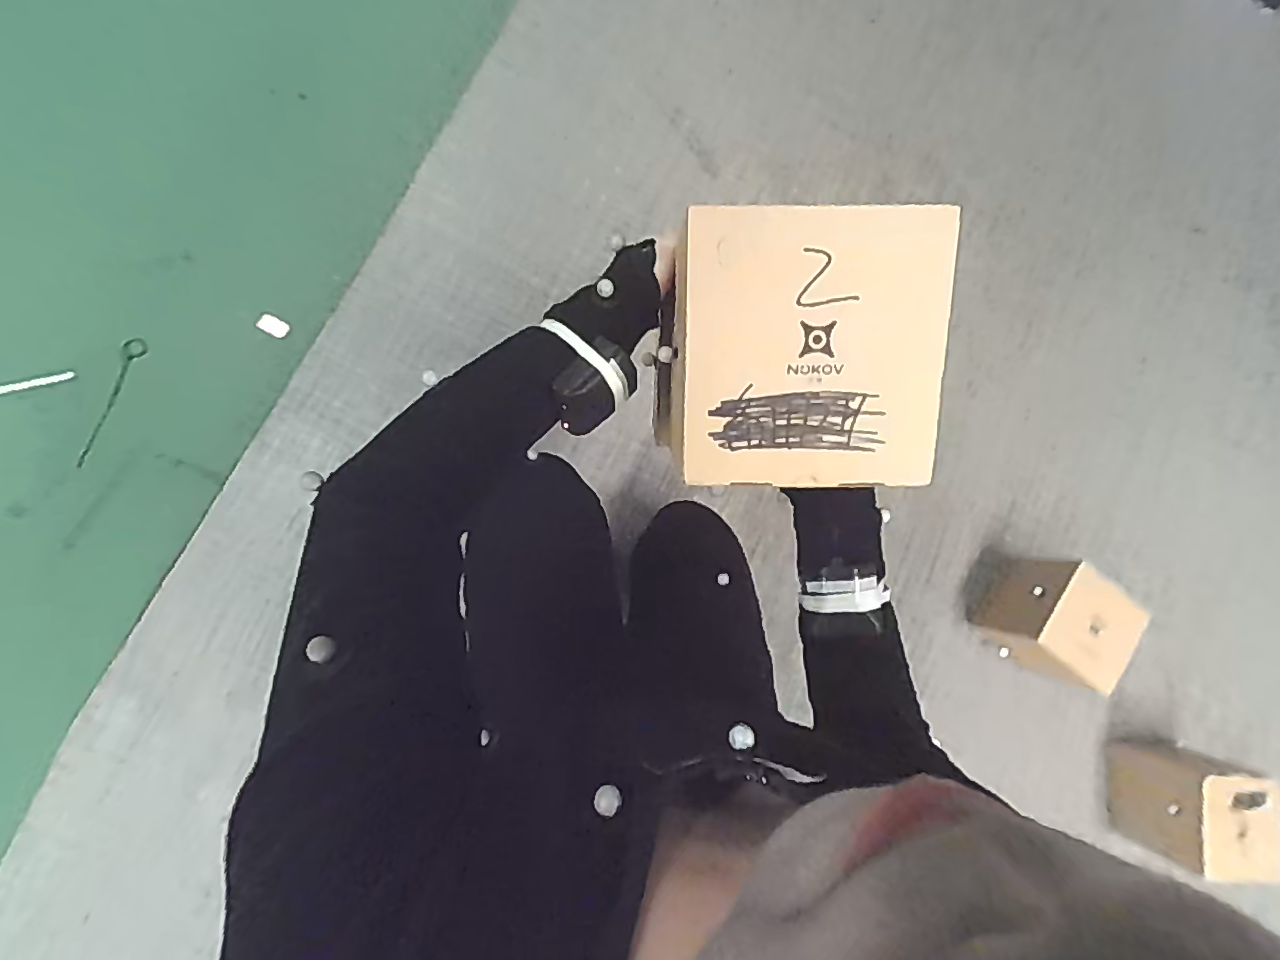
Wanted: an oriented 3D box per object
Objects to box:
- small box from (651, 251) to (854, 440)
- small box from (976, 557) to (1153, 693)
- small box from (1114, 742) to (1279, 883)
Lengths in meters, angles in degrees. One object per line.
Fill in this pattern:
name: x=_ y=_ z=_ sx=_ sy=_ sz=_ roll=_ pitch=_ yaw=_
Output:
small box: x=0.103 y=-0.138 z=0.576 sx=0.179 sy=0.176 sz=0.168 roll=2 pitch=103 yaw=1
small box: x=0.783 y=0.259 z=1.015 sx=0.168 sy=0.176 sz=0.179 roll=39 pitch=80 yaw=-2
small box: x=1.036 y=0.609 z=1.011 sx=0.168 sy=0.176 sz=0.179 roll=7 pitch=83 yaw=-7
